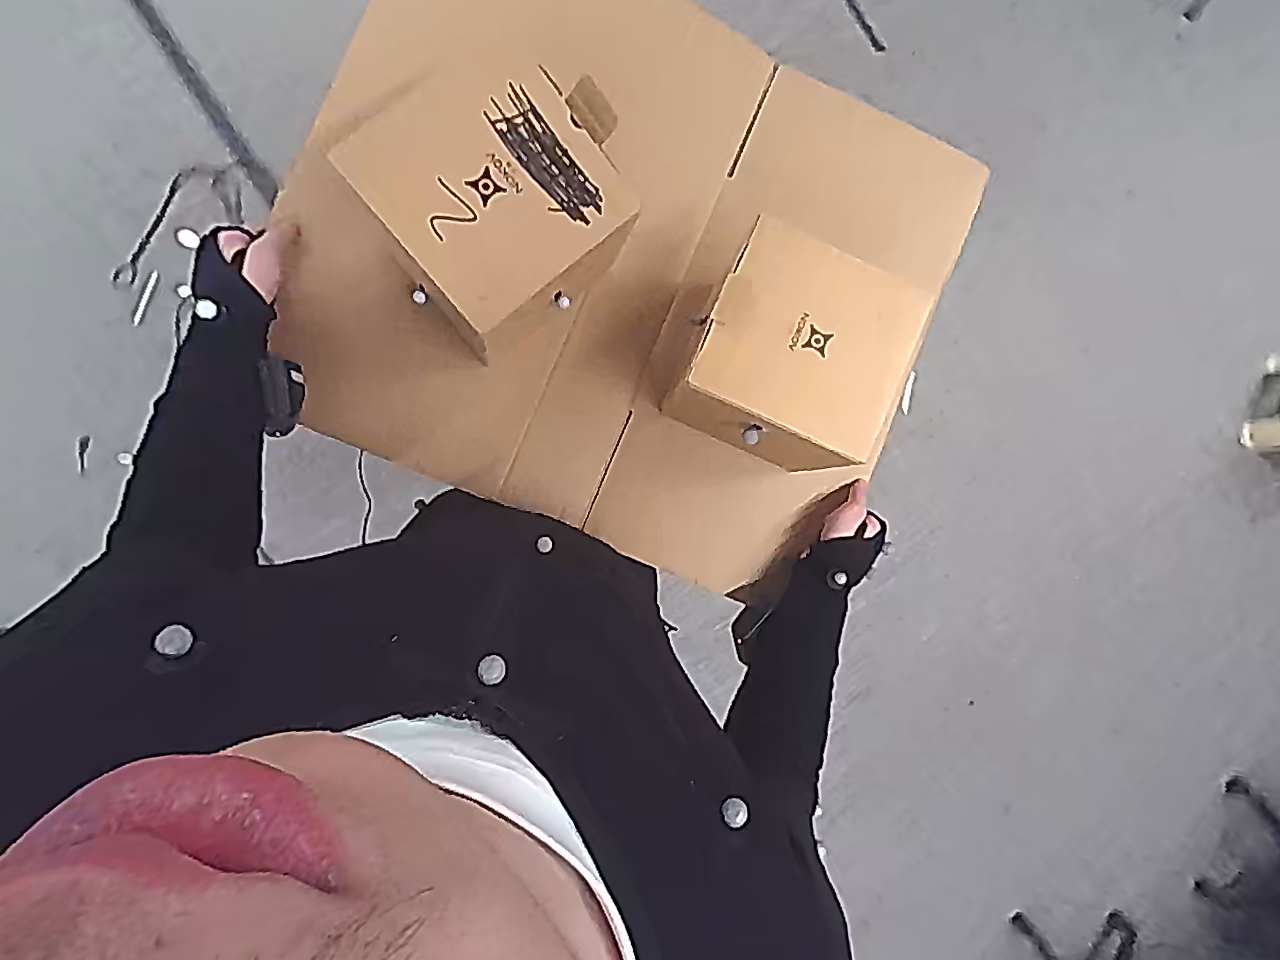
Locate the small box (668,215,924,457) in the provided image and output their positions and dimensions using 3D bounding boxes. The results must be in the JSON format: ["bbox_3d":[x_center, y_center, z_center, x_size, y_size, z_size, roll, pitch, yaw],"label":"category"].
[{"bbox_3d":[0.145,-0.129,0.563,0.179,0.176,0.168,23,87,-3],"label":"small box"}]
